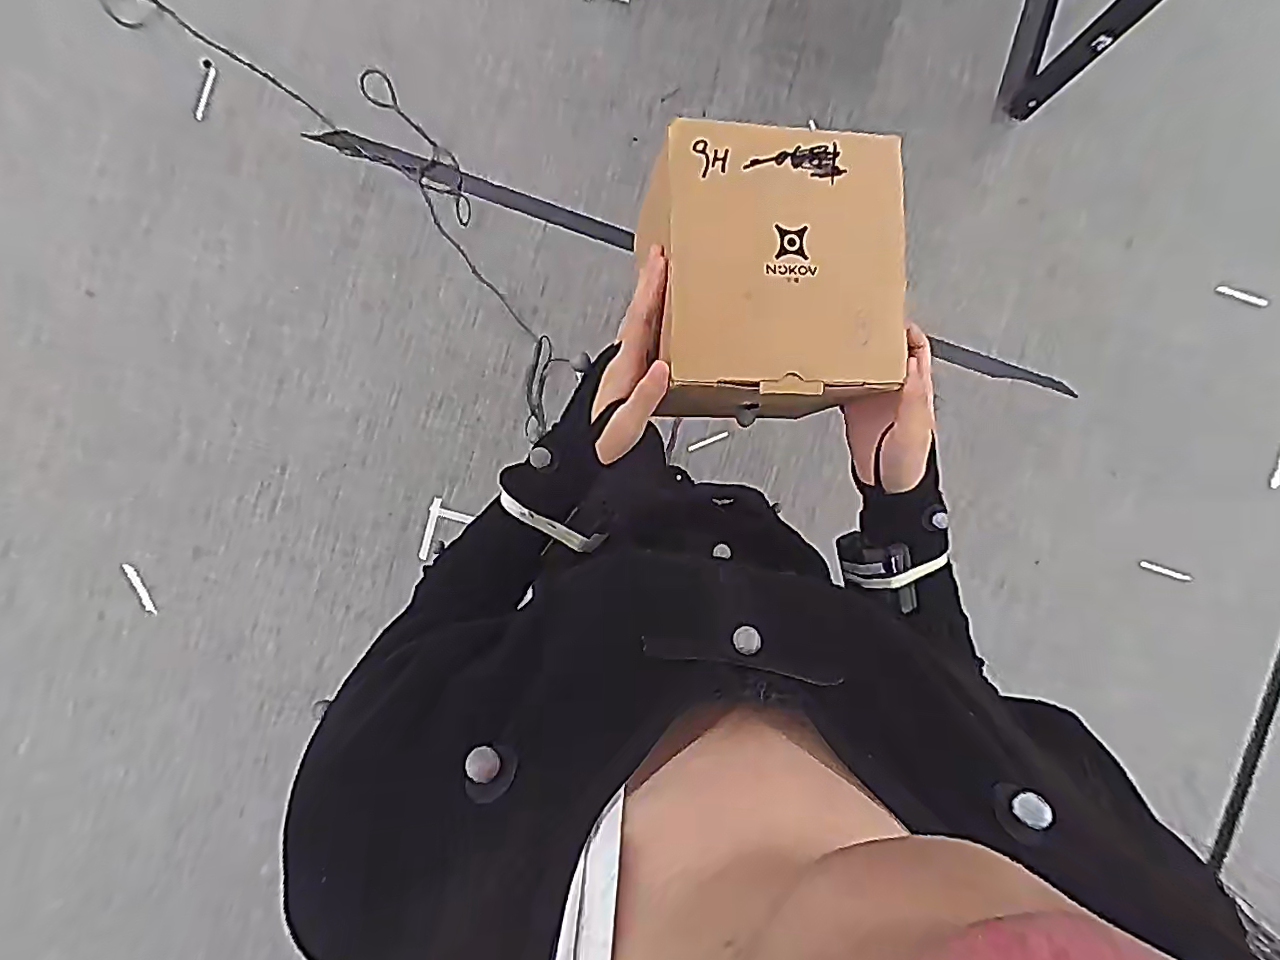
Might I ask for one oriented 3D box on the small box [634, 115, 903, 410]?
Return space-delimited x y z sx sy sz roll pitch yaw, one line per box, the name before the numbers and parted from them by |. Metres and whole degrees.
small box | 0.088 -0.151 0.440 0.168 0.176 0.179 -1 90 -9
